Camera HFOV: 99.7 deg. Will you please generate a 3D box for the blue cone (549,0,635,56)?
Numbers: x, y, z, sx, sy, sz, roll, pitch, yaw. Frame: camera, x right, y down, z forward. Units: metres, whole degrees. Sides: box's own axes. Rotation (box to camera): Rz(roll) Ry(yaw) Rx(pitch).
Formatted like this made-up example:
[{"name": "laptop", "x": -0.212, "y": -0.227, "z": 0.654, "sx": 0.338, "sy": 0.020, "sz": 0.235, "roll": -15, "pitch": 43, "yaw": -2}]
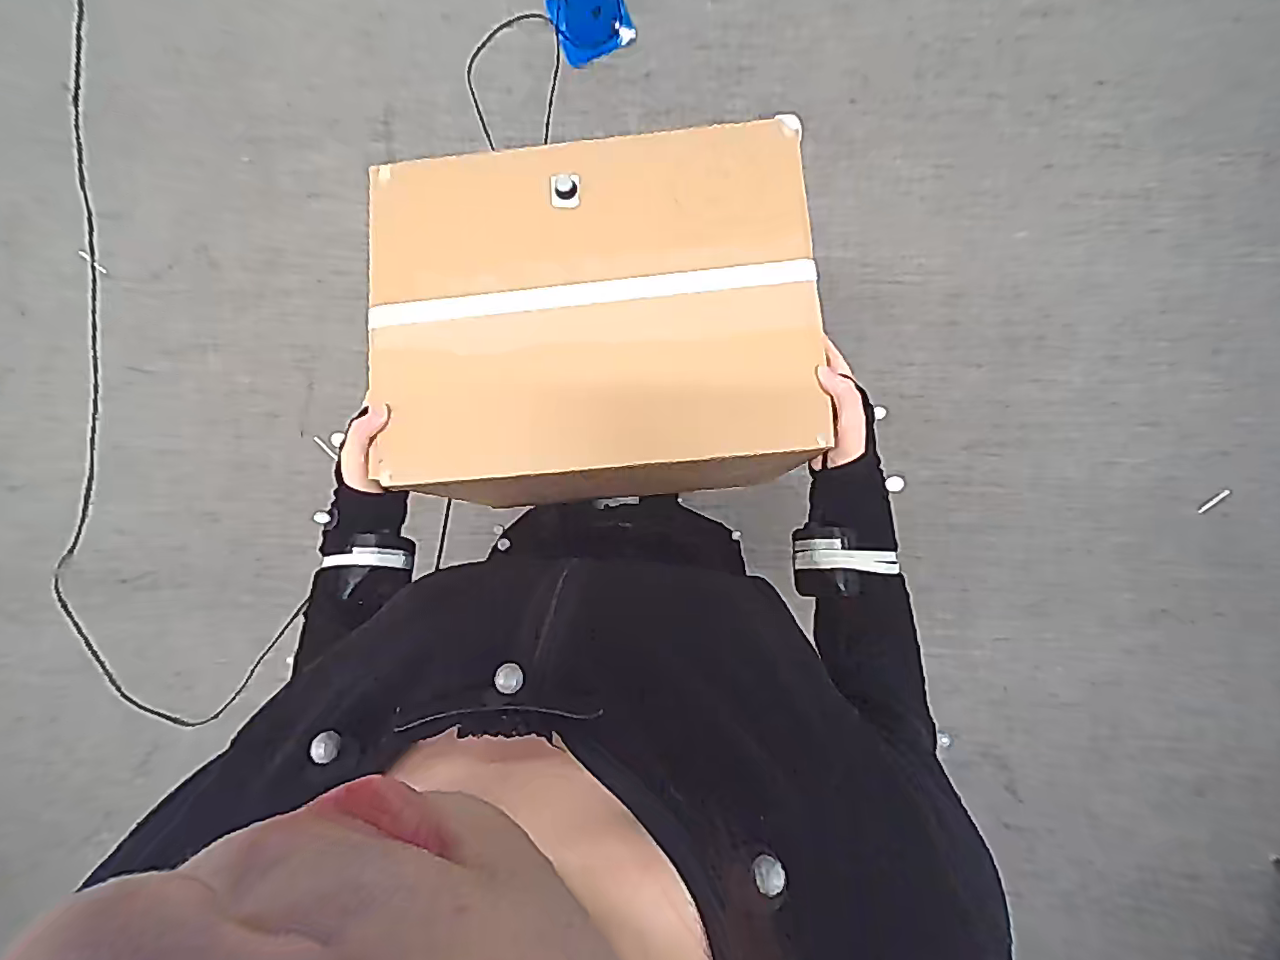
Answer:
[{"name": "blue cone", "x": -0.126, "y": -1.238, "z": 1.265, "sx": 0.193, "sy": 0.380, "sz": 0.192, "roll": -26, "pitch": 92, "yaw": 0}]
